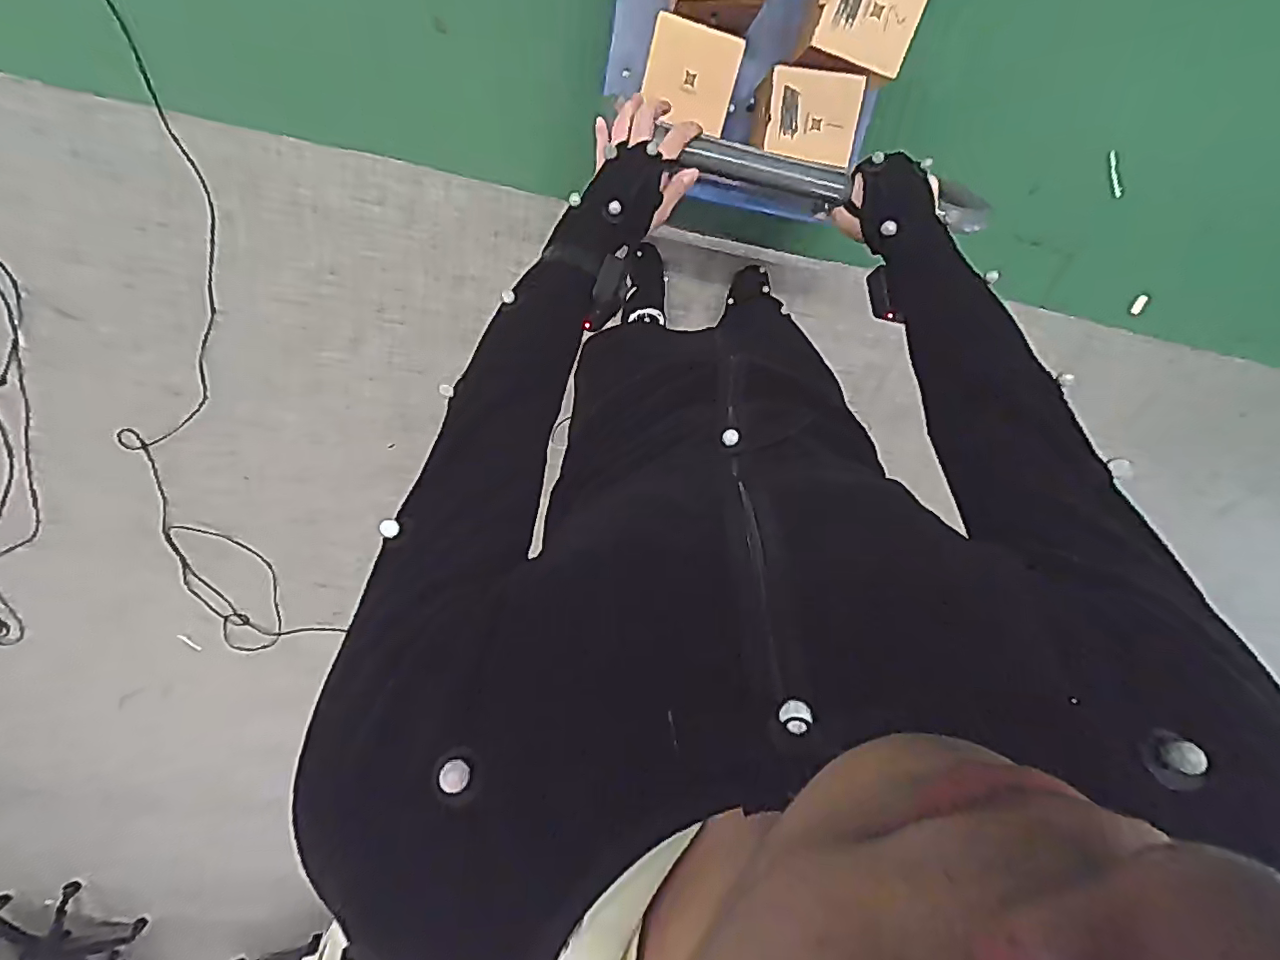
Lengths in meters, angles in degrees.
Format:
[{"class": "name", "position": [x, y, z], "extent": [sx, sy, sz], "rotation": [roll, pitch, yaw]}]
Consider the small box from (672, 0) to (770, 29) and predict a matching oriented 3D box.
[{"class": "small box", "position": [0.146, -0.943, 0.974], "extent": [0.168, 0.176, 0.179], "rotation": [-2, 115, -2]}]
